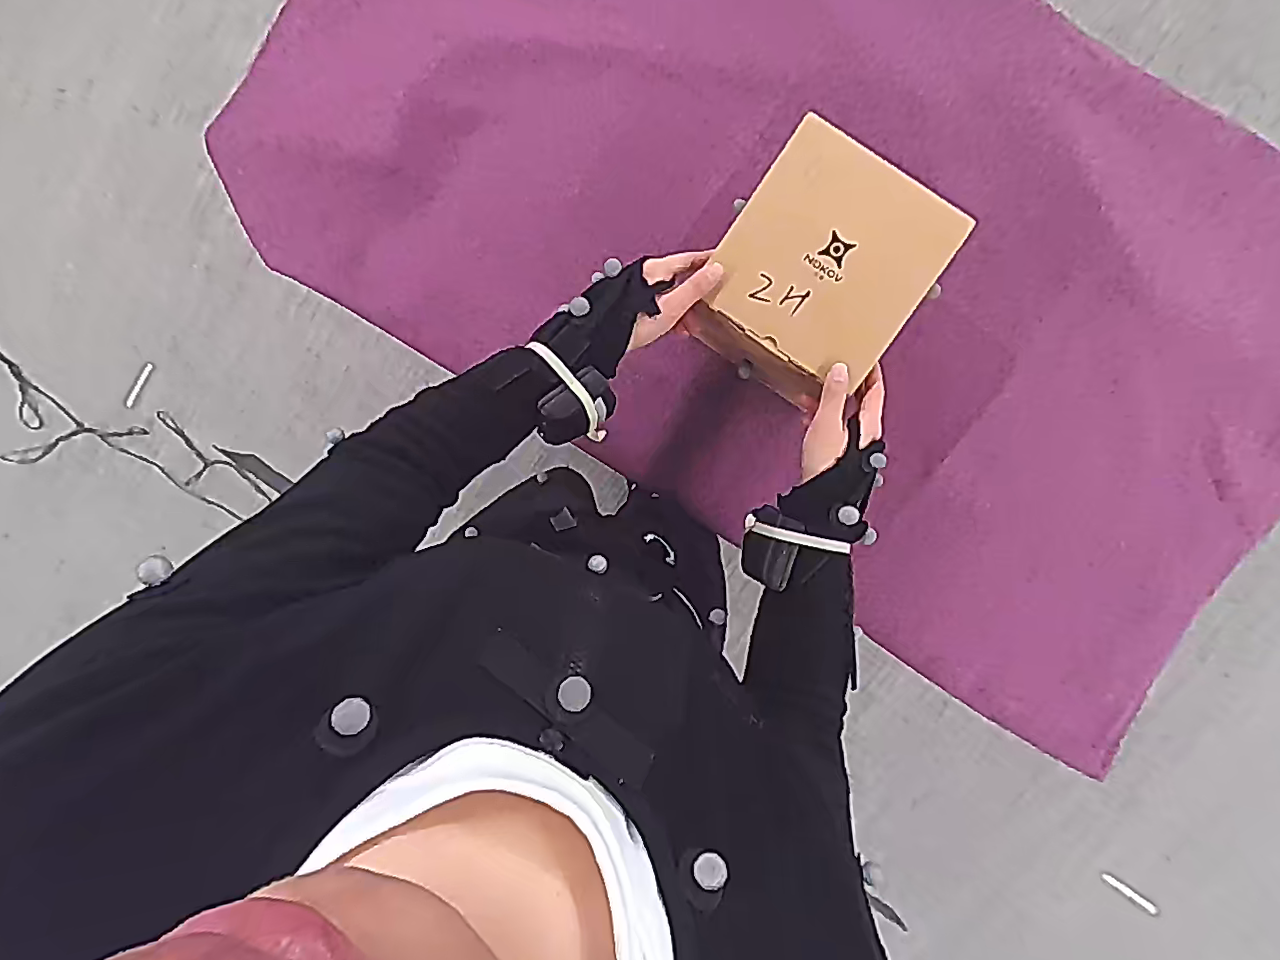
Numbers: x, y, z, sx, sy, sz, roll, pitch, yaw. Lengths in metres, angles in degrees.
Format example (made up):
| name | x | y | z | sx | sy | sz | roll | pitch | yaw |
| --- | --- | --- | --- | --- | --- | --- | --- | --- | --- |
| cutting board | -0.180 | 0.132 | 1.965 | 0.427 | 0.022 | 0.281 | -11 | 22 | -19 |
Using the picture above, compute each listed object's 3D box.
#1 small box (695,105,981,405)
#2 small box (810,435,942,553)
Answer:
| name | x | y | z | sx | sy | sz | roll | pitch | yaw |
| --- | --- | --- | --- | --- | --- | --- | --- | --- | --- |
| small box | 0.163 | -0.190 | 0.516 | 0.168 | 0.176 | 0.179 | 35 | 97 | 2 |
| small box | 0.475 | 0.024 | 1.124 | 0.168 | 0.176 | 0.179 | 35 | 96 | 2 |
